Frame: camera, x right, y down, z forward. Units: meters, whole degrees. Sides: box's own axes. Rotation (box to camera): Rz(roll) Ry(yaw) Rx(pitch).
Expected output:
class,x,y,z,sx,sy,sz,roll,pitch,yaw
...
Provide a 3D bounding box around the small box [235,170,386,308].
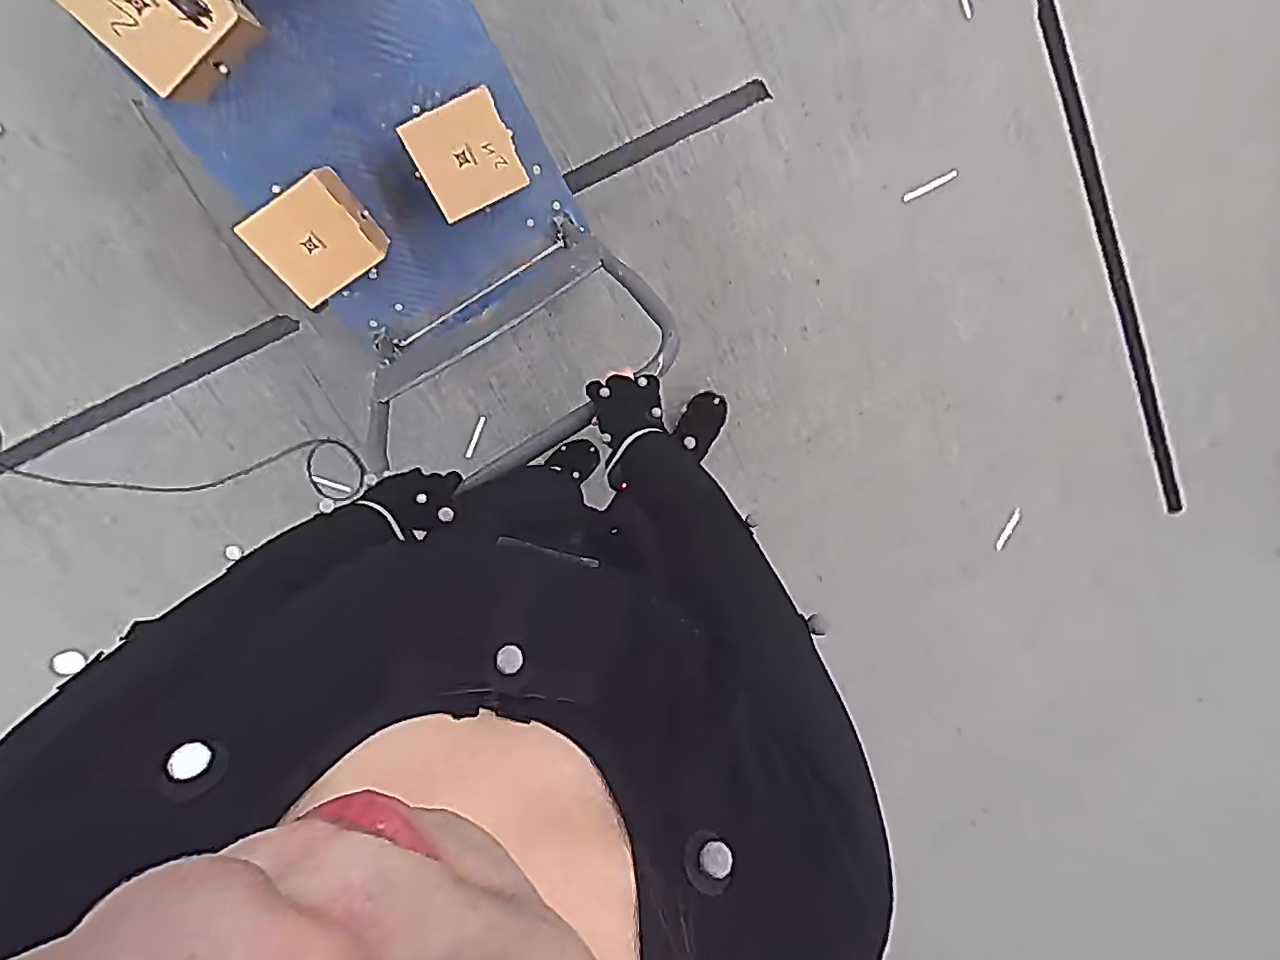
class,x,y,z,sx,sy,sz,roll,pitch,yaw
small box,-0.610,-0.462,1.030,0.179,0.176,0.168,-35,127,2

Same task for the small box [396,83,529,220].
class,x,y,z,sx,sy,sz,roll,pitch,yaw
small box,-0.334,-0.621,1.029,0.179,0.176,0.168,-28,127,-1
